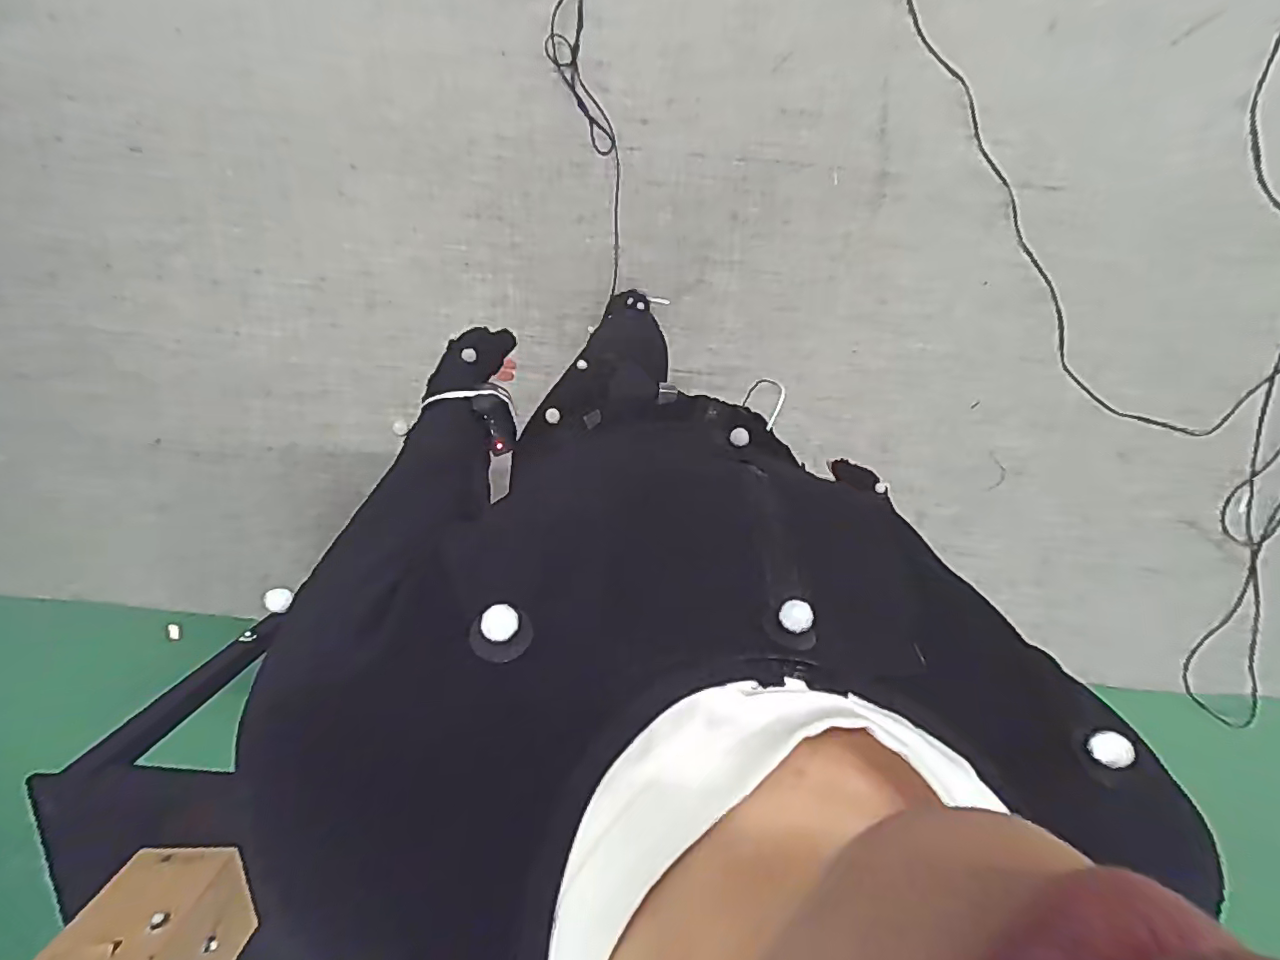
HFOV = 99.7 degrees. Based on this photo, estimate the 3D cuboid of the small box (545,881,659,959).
[{"bbox_3d":[-0.055,0.784,0.858,0.168,0.176,0.179,-3,104,2],"label":"small box"}]
